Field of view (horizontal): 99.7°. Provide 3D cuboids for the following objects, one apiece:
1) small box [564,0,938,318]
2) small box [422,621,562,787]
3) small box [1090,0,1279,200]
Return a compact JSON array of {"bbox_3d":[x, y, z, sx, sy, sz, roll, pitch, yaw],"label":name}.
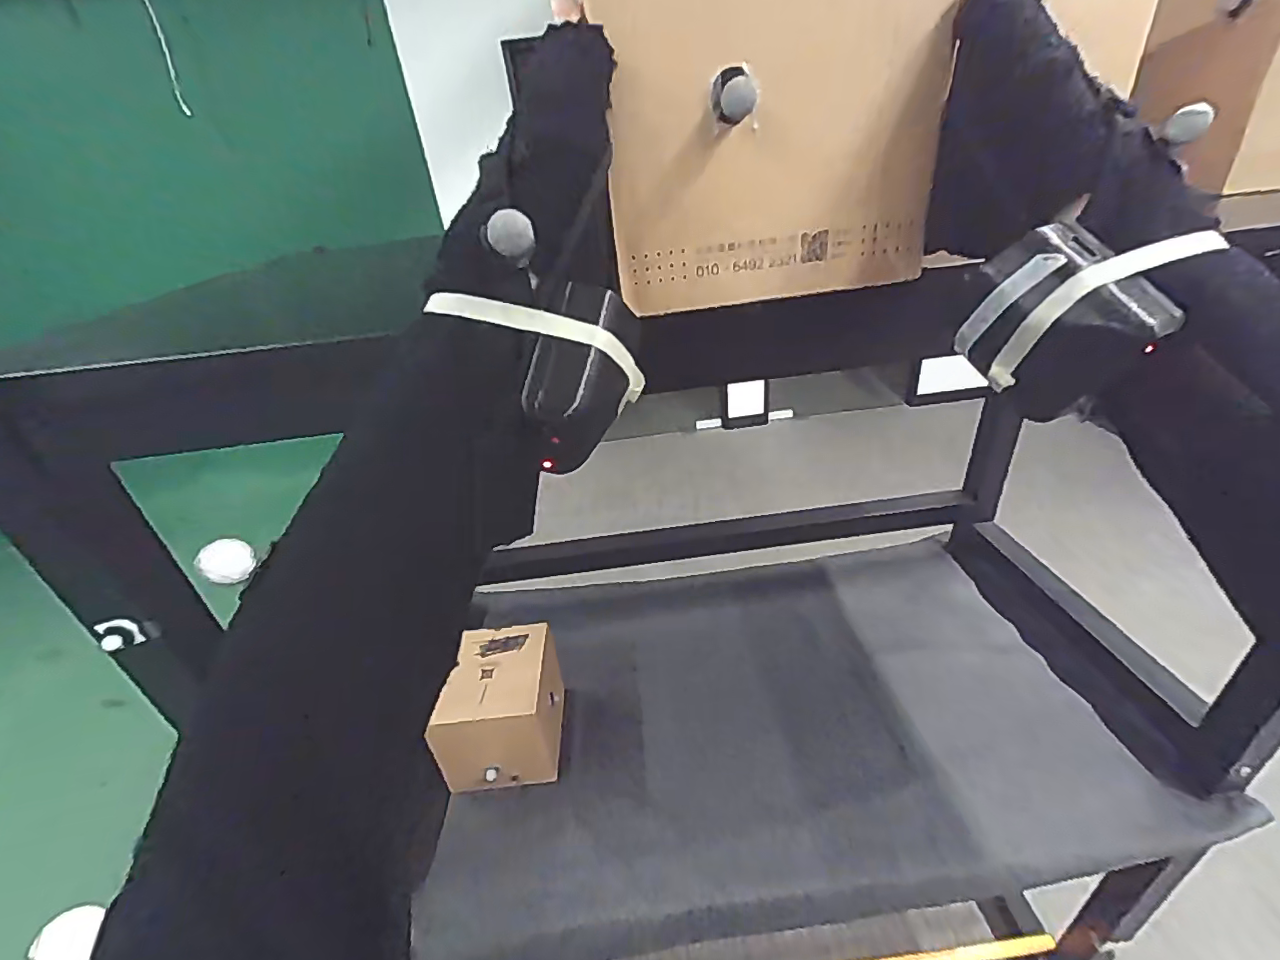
[{"bbox_3d":[0.050,-0.201,0.321,0.168,0.176,0.179,-9,31,-4],"label":"small box"},{"bbox_3d":[-0.223,0.355,0.866,0.168,0.176,0.179,-6,31,0],"label":"small box"},{"bbox_3d":[0.524,-0.330,0.438,0.168,0.176,0.179,-1,31,9],"label":"small box"}]
